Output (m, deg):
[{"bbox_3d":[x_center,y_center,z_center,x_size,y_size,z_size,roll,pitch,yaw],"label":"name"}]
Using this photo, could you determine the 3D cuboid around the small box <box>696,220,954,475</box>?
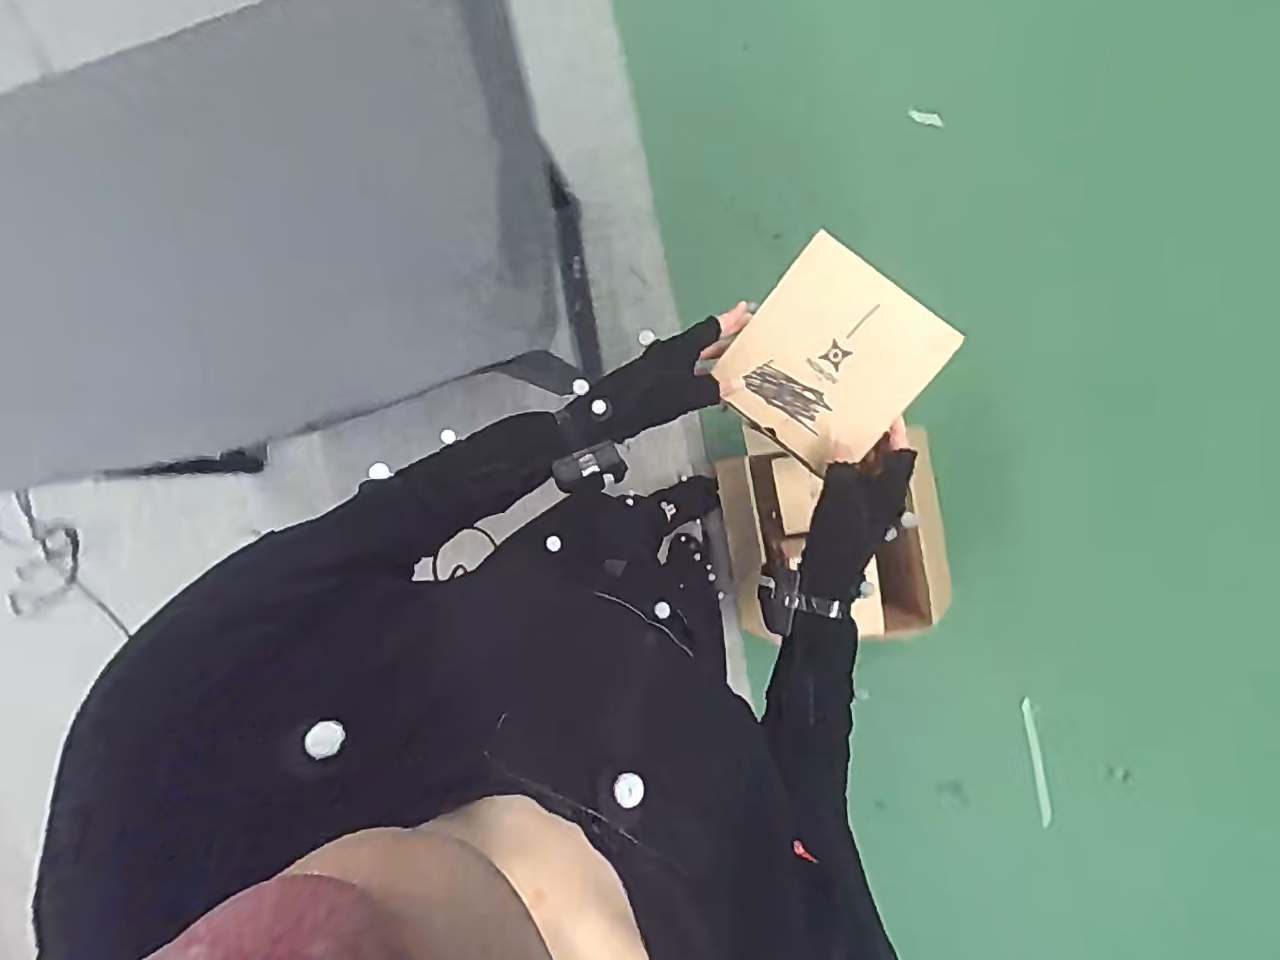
[{"bbox_3d":[0.180,-0.130,0.577,0.168,0.176,0.179,37,102,2],"label":"small box"}]
